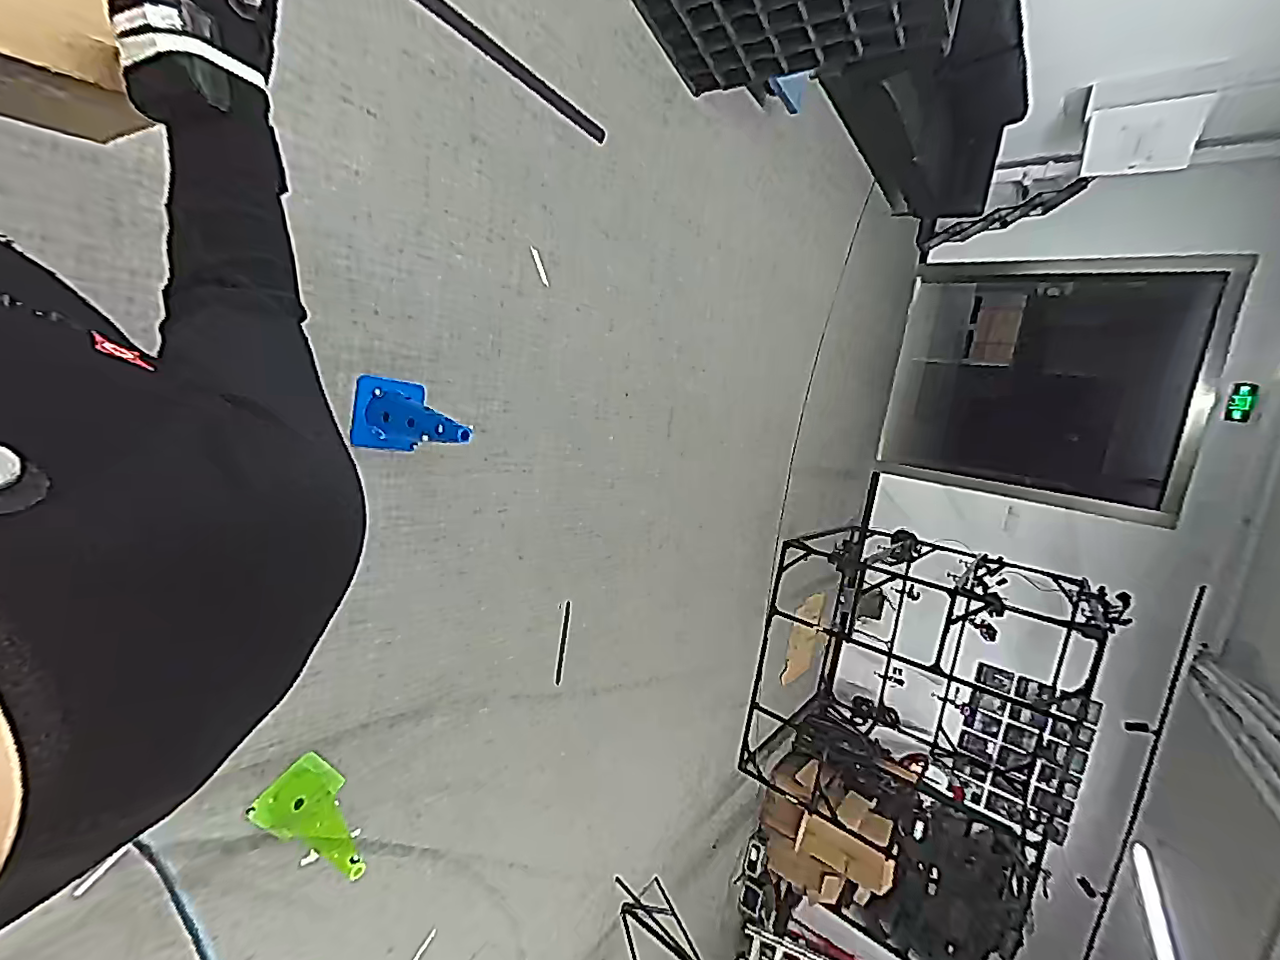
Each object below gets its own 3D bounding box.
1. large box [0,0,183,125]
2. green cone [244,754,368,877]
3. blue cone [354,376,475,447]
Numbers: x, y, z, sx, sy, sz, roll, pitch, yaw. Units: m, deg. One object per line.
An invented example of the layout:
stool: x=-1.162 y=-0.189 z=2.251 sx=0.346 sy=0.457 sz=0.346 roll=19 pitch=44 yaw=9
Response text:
large box: x=-0.558 y=-0.454 z=0.295 sx=0.408 sy=0.320 sz=0.320 roll=-10 pitch=115 yaw=-52
green cone: x=-0.847 y=0.943 z=1.449 sx=0.202 sy=0.368 sz=0.200 roll=-48 pitch=137 yaw=-36
blue cone: x=-0.582 y=-0.157 z=1.445 sx=0.192 sy=0.380 sz=0.193 roll=5 pitch=98 yaw=-56
